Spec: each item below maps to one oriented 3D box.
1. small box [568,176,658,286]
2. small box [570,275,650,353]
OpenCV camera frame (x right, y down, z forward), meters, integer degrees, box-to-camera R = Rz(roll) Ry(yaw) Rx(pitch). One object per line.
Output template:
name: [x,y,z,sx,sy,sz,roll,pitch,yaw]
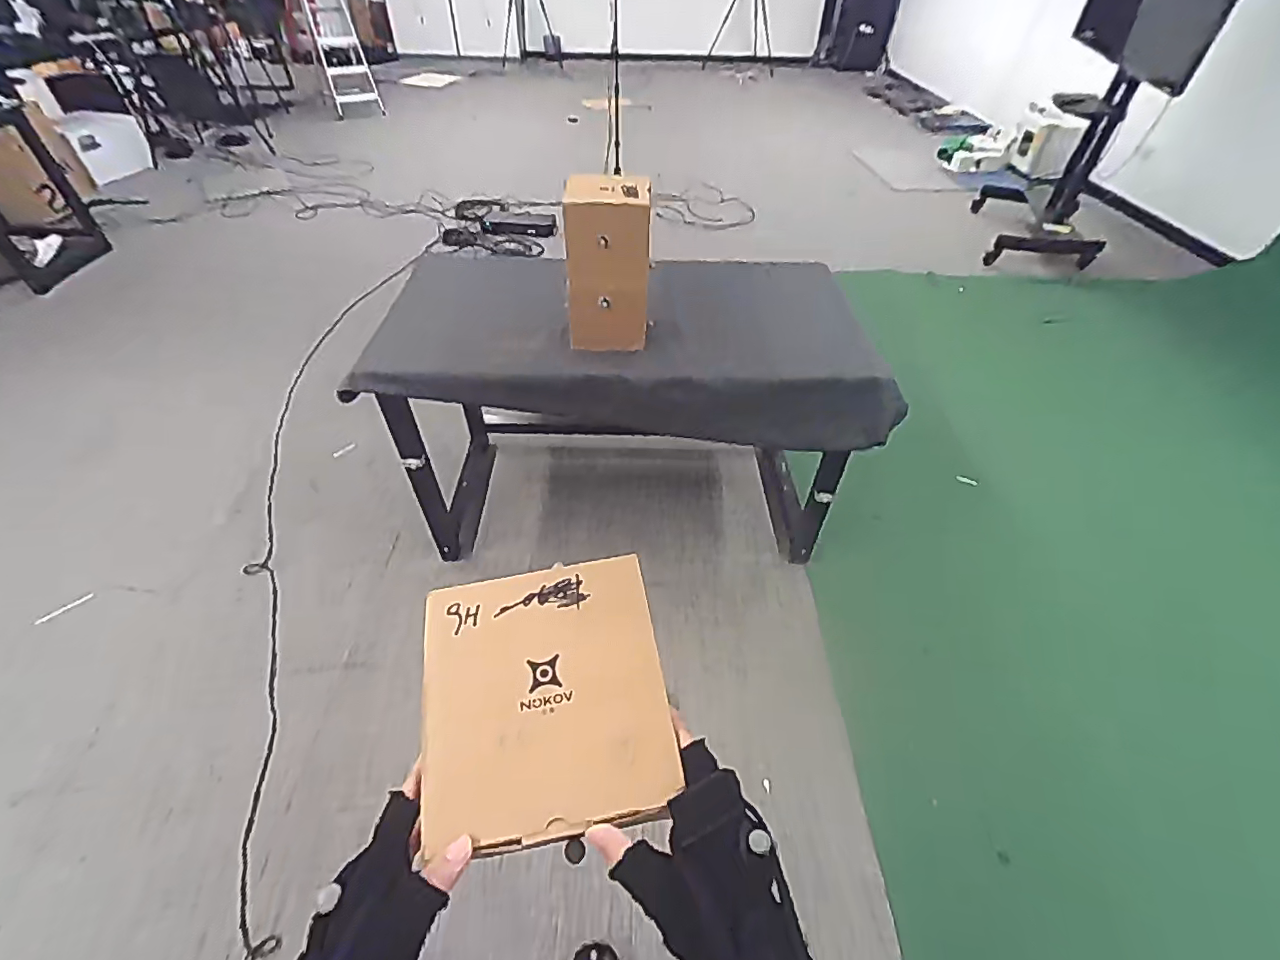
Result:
small box: [-0.056,-0.531,1.160,0.179,0.176,0.168,-1,46,-2]
small box: [-0.066,-0.415,1.277,0.179,0.176,0.168,2,46,-1]
